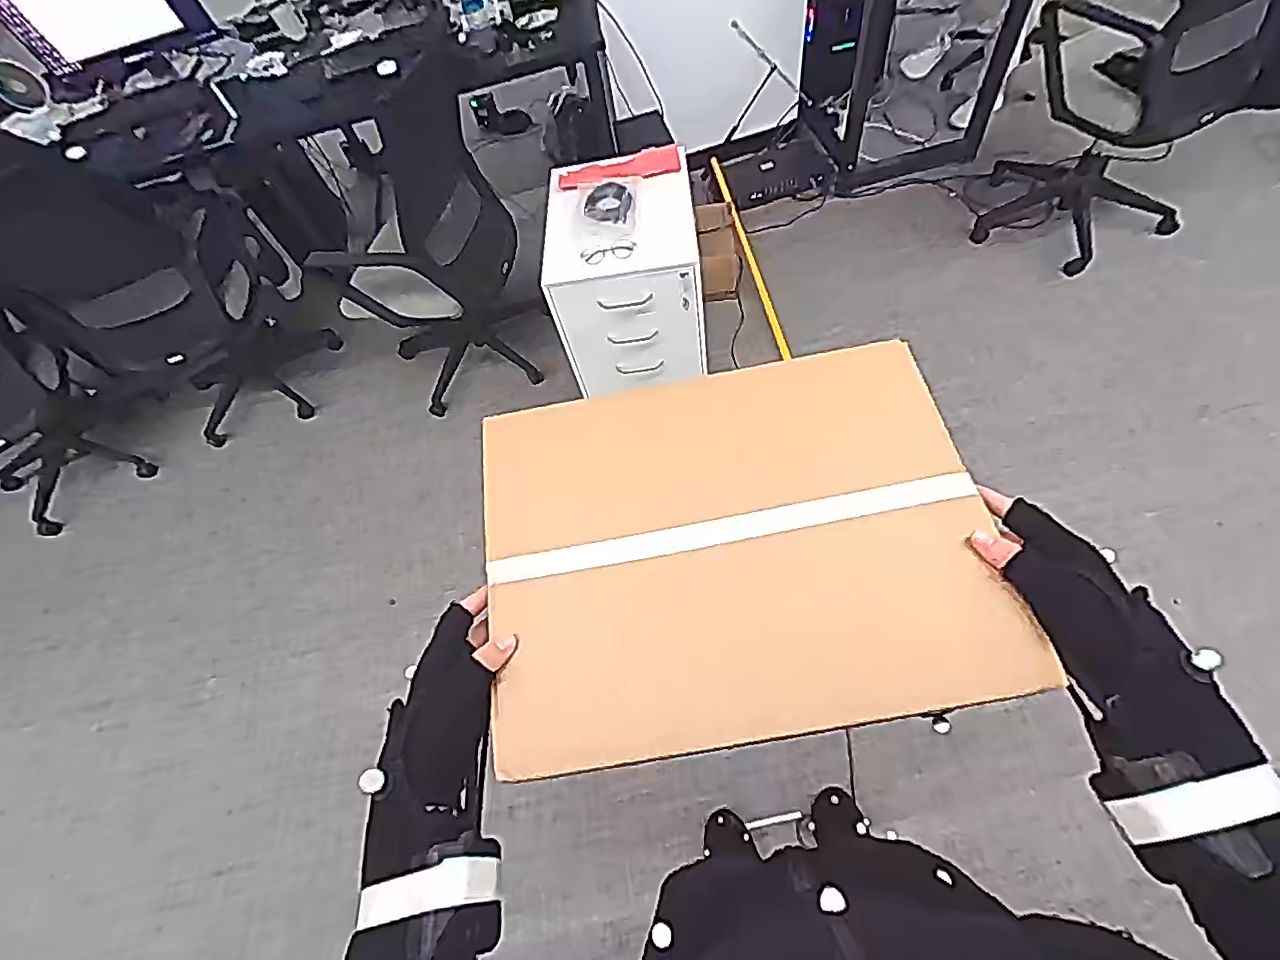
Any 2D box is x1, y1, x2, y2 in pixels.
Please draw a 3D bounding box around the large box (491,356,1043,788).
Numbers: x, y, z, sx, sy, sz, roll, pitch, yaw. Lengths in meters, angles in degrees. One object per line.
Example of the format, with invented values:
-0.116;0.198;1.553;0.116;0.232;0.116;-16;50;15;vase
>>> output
0.090;0.114;0.589;0.408;0.320;0.320;-10;63;1;large box
